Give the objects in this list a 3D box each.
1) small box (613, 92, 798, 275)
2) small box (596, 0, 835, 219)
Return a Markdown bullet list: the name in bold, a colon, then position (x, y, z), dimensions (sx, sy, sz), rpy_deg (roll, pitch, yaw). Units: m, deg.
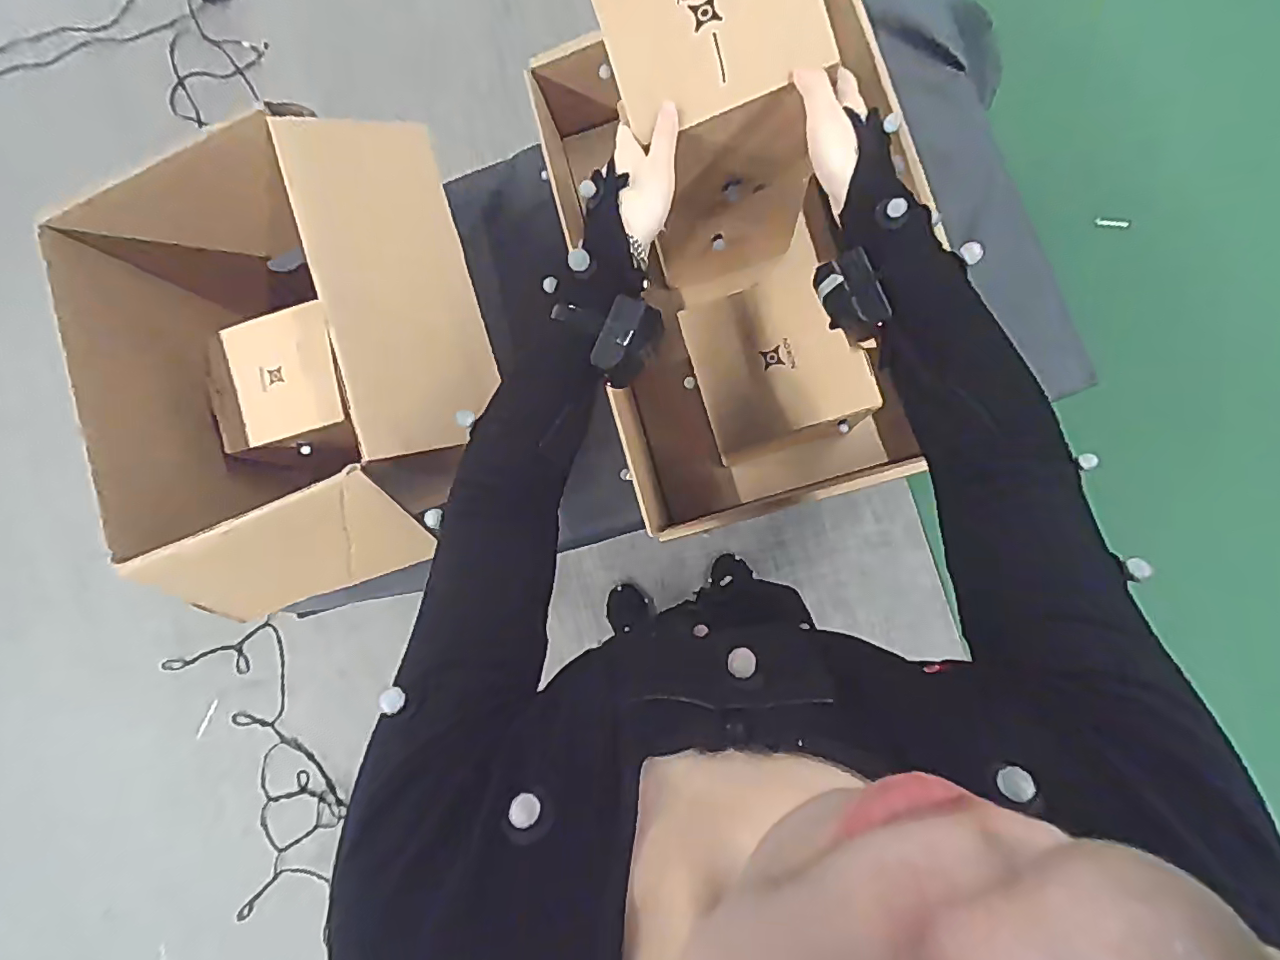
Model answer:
- **small box**: position (0.084, -0.383, 0.678), dimensions (0.179, 0.176, 0.168), rpy_deg (-16, 87, 8)
- **small box**: position (0.063, -0.383, 0.504), dimensions (0.168, 0.176, 0.179), rpy_deg (-16, 91, 11)
